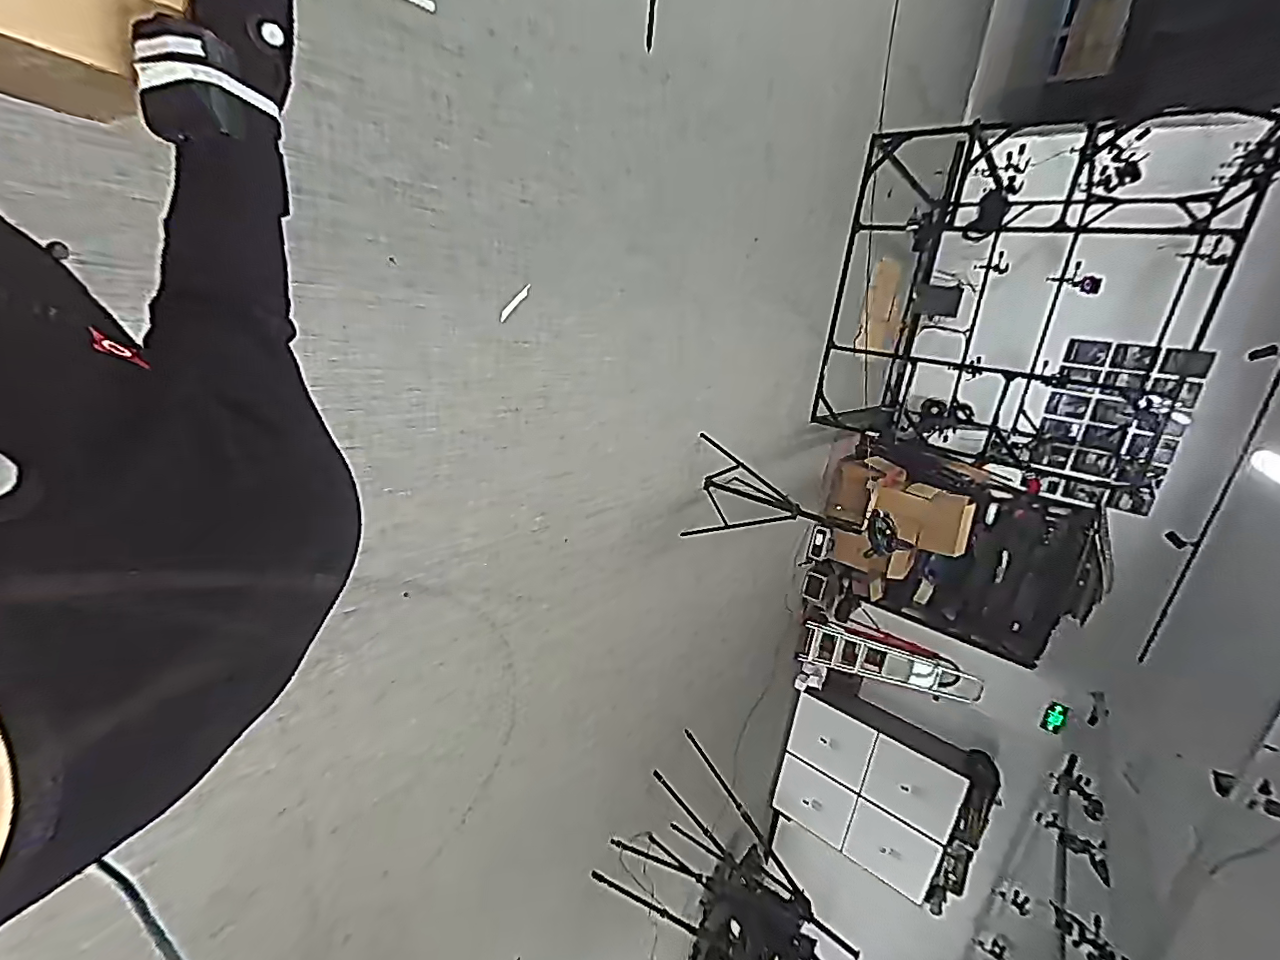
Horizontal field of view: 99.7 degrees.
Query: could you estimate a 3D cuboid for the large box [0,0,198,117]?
[{"bbox_3d":[-0.539,-0.446,0.283,0.408,0.320,0.320,-11,118,-52],"label":"large box"}]
